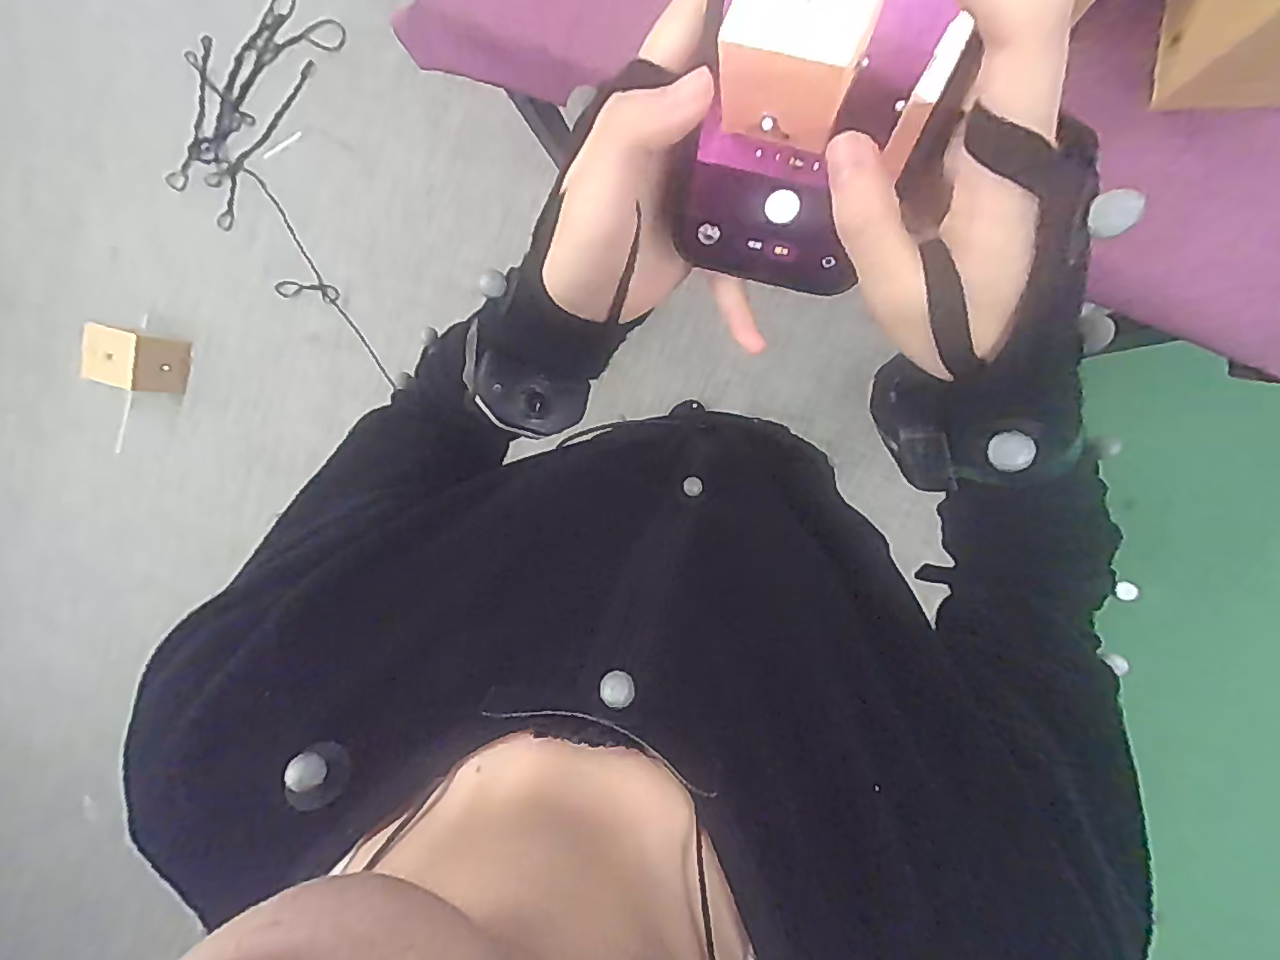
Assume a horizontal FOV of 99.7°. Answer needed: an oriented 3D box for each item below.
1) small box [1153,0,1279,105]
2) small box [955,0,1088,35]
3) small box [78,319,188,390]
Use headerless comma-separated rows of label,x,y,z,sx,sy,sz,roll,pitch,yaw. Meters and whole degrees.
small box,0.670,-0.502,0.533,0.179,0.176,0.168,4,96,9
small box,0.441,-0.619,0.558,0.179,0.176,0.168,28,100,5
small box,-1.520,-0.372,1.629,0.179,0.176,0.168,16,99,7
